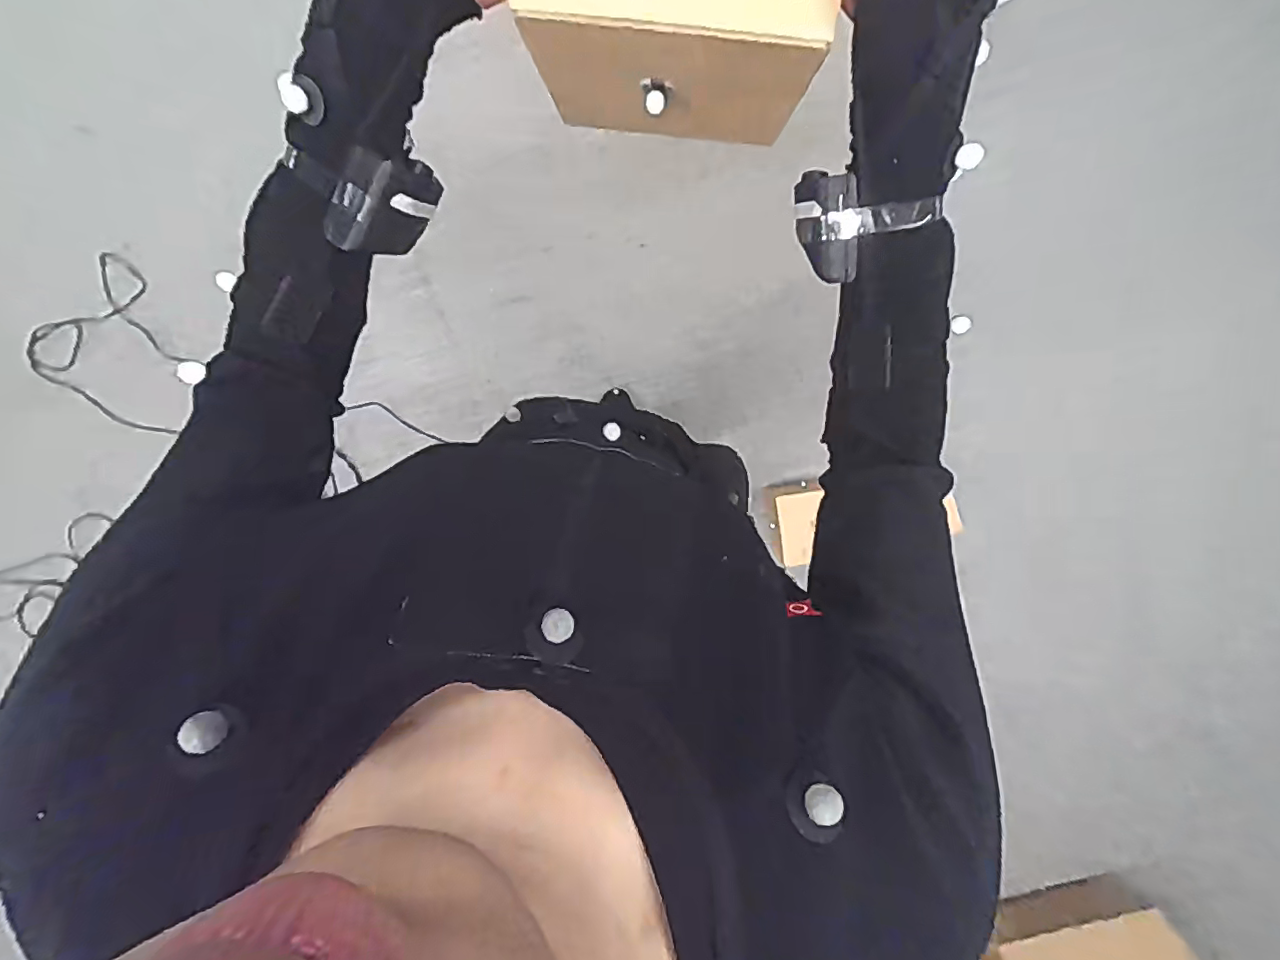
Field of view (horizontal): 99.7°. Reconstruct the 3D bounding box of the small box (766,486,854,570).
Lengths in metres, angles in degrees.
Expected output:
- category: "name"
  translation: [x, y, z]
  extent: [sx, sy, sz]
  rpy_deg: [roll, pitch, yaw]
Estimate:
- category: "small box"
  translation: [0.424, 0.114, 1.370]
  extent: [0.168, 0.176, 0.179]
  rpy_deg: [-8, 96, 4]
